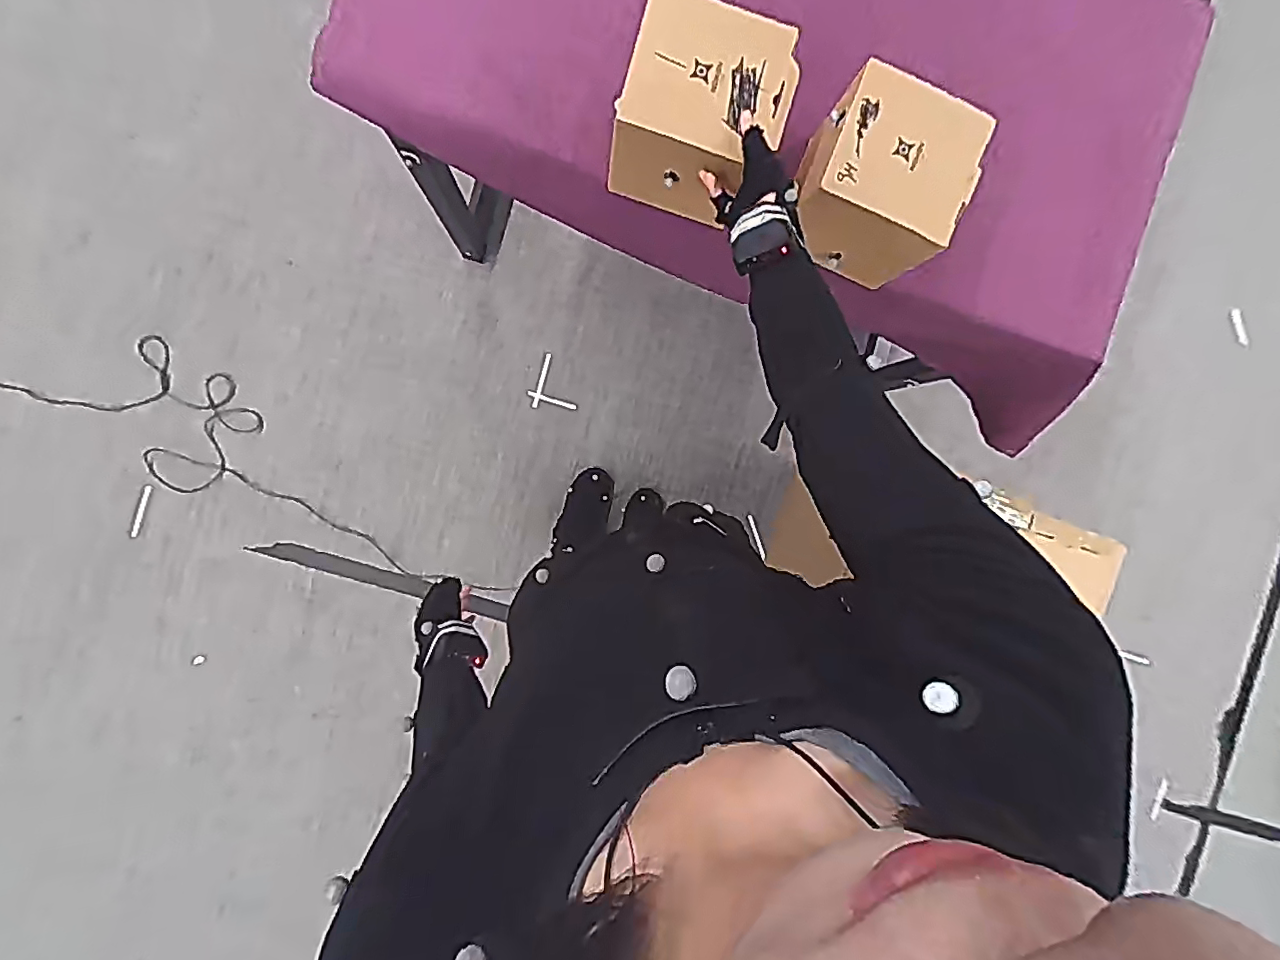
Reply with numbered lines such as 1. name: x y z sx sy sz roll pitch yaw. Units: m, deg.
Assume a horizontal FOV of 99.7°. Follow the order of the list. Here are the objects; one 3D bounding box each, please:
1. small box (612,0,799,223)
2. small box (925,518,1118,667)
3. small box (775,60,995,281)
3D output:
1. small box: 0.070 -0.458 0.690 0.179 0.176 0.168 16 89 -5
2. small box: 0.599 0.169 0.874 0.168 0.176 0.179 17 92 -3
3. small box: 0.309 -0.388 0.718 0.179 0.176 0.168 22 89 -7
